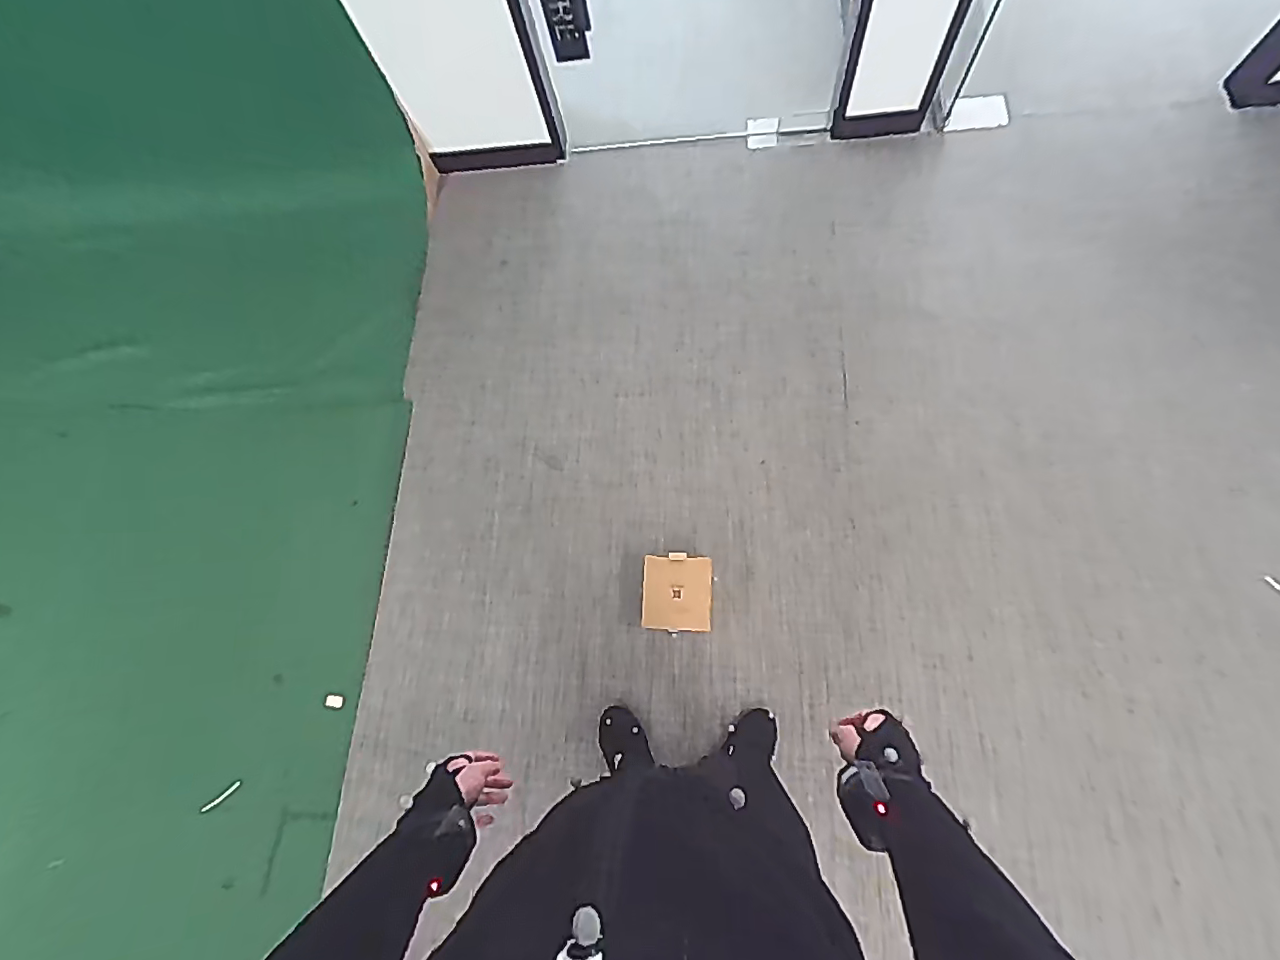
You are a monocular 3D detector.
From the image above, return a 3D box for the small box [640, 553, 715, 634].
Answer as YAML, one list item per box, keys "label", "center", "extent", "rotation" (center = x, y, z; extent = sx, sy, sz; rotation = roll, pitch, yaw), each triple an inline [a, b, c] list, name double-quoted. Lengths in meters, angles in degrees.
- label: "small box"
  center: [0.100, 0.287, 1.355]
  extent: [0.168, 0.176, 0.179]
  rotation: [2, 74, 11]
